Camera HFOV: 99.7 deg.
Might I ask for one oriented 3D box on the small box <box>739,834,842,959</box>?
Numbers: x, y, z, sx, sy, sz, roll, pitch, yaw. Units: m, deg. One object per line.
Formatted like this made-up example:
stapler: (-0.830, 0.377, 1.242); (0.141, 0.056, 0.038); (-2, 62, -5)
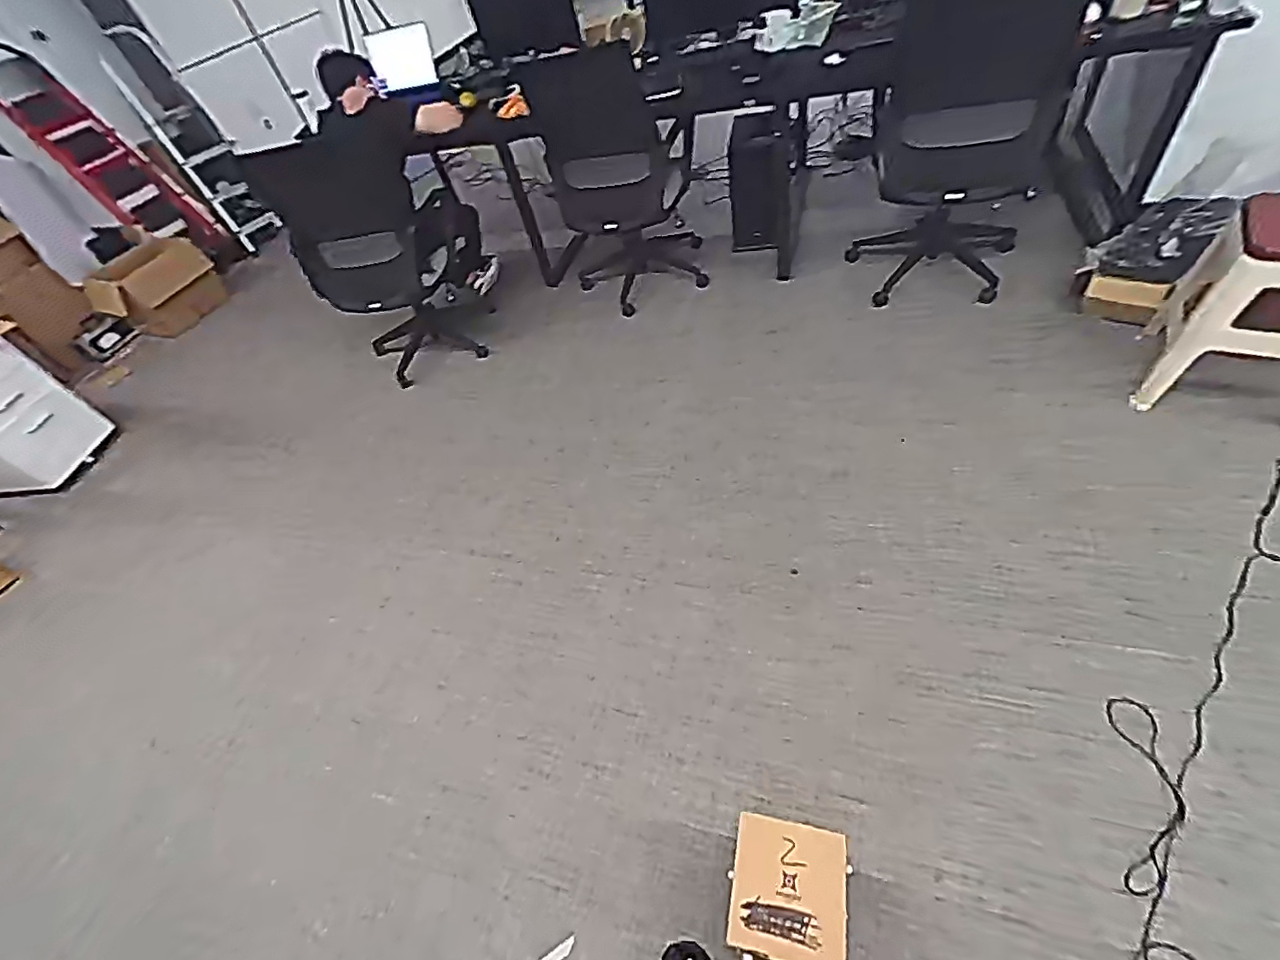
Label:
small box: (0.270, 0.769, 0.982); (0.168, 0.176, 0.179); (-1, 51, 15)
